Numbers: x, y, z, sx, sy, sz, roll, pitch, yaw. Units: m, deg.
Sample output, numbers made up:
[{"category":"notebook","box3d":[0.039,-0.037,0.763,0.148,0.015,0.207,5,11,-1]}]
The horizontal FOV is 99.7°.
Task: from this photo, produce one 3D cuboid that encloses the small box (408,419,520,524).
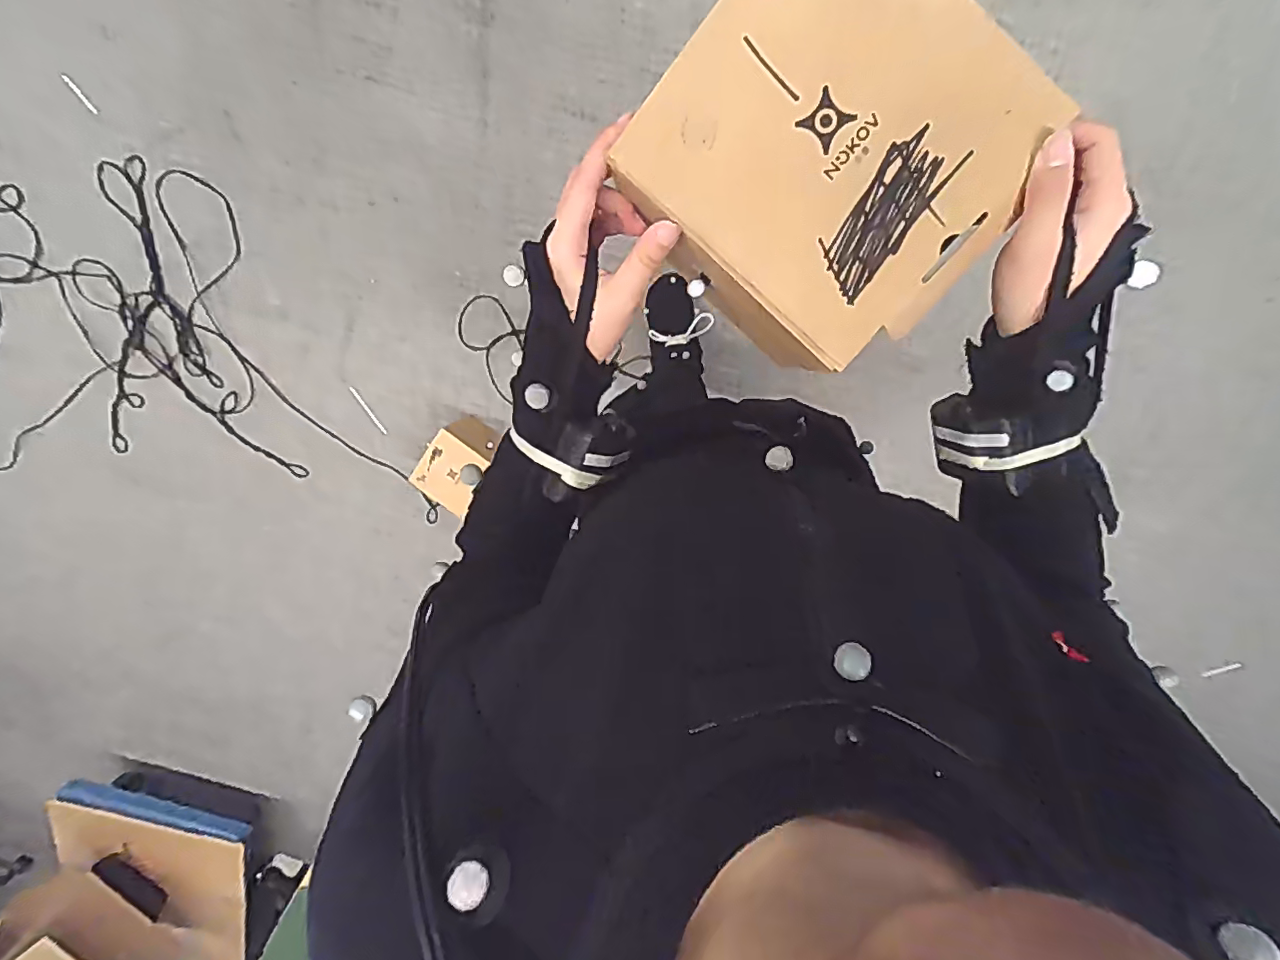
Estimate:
[{"category":"small box","box3d":[-0.420,-0.029,1.325,0.179,0.176,0.168,37,107,-8]}]
